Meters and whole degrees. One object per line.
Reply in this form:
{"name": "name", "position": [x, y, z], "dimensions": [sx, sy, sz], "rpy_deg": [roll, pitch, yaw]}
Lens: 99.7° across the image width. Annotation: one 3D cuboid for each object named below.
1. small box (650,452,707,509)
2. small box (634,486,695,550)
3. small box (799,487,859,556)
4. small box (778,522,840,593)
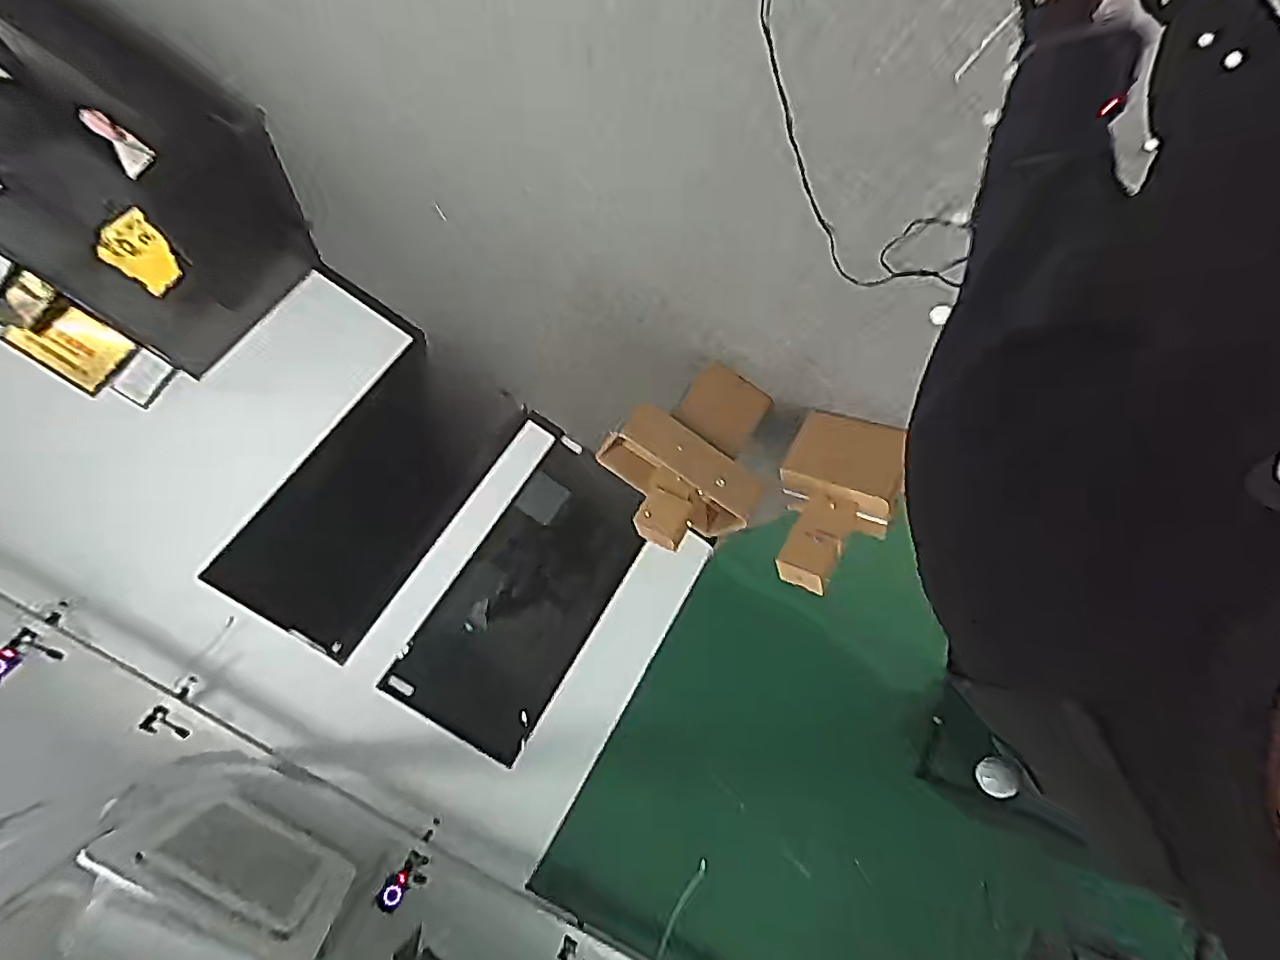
{"name": "small box", "position": [0.165, 0.008, 2.210], "dimensions": [0.179, 0.176, 0.168], "rpy_deg": [24, 157, 21]}
{"name": "small box", "position": [0.102, 0.146, 2.140], "dimensions": [0.179, 0.176, 0.168], "rpy_deg": [24, 160, 20]}
{"name": "small box", "position": [0.712, 0.155, 2.037], "dimensions": [0.168, 0.176, 0.179], "rpy_deg": [22, 158, 28]}
{"name": "small box", "position": [0.624, 0.281, 1.981], "dimensions": [0.168, 0.176, 0.179], "rpy_deg": [20, 157, 30]}
